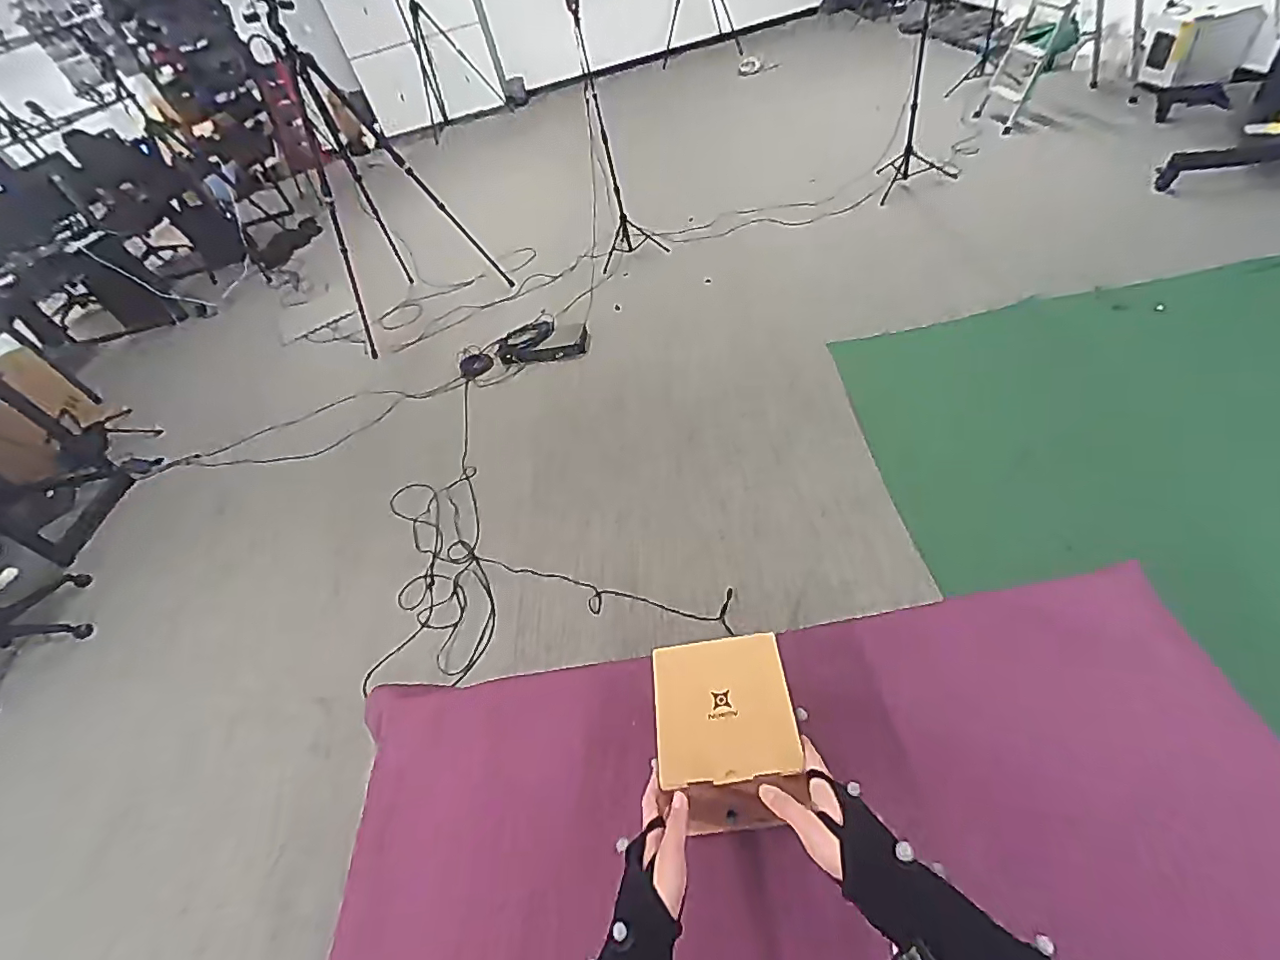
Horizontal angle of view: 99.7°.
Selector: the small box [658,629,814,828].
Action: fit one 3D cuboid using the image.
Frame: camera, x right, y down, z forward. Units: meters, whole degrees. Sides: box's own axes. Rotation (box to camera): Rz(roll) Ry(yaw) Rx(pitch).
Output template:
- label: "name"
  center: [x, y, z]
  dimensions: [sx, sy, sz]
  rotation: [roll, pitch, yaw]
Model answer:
- label: "small box"
  center: [0.119, 0.321, 0.701]
  dimensions: [0.168, 0.176, 0.179]
  rotation: [-10, 42, 6]
